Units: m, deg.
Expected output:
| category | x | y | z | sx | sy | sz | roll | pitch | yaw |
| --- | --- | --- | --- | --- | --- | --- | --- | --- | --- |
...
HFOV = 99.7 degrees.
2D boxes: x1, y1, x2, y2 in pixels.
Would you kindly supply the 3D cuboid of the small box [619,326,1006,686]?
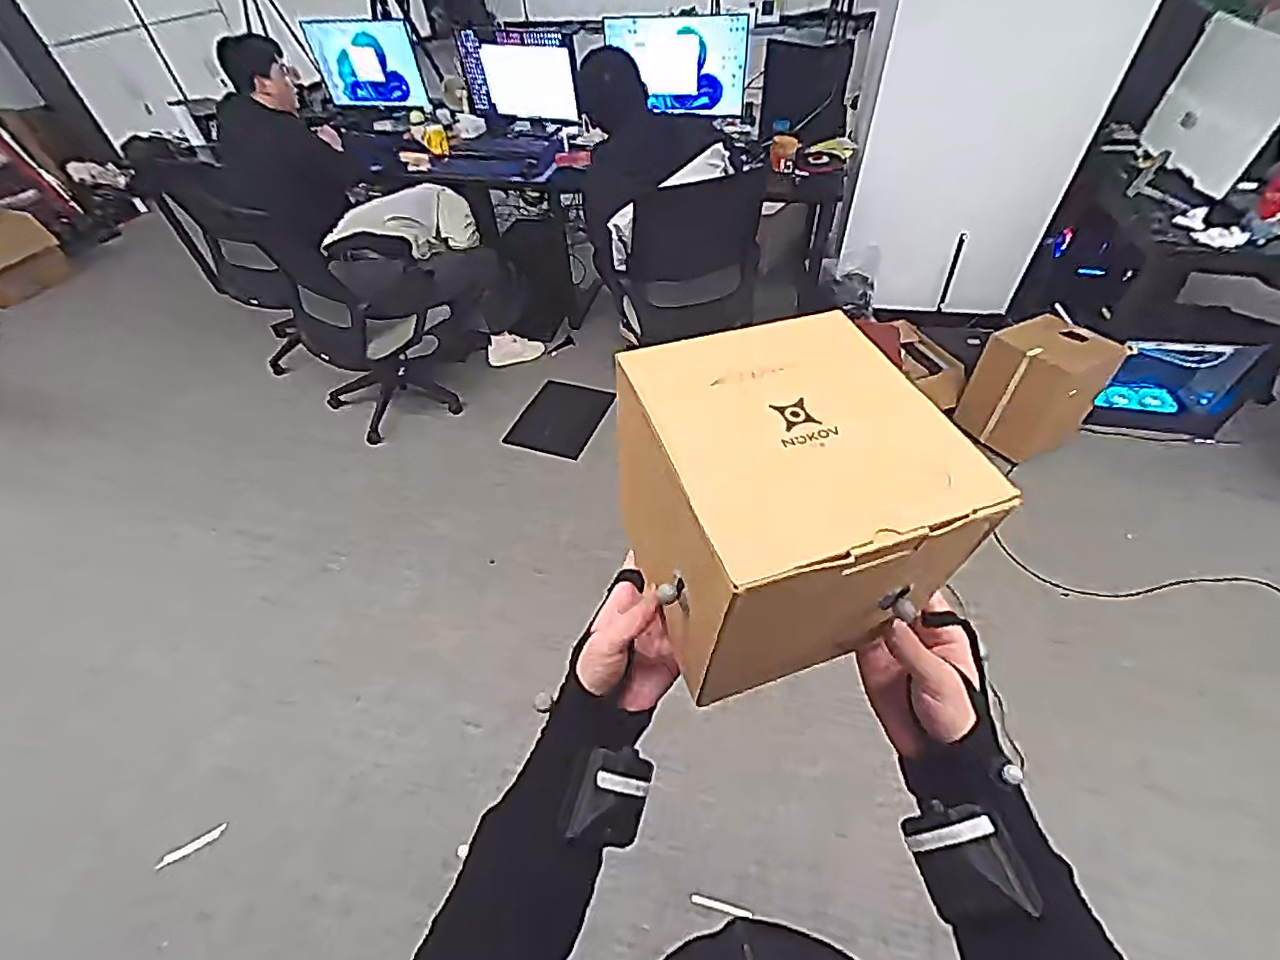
| category | x | y | z | sx | sy | sz | roll | pitch | yaw |
| --- | --- | --- | --- | --- | --- | --- | --- | --- | --- |
| small box | 0.089 | 0.023 | 0.378 | 0.168 | 0.176 | 0.179 | -14 | 52 | -15 |
